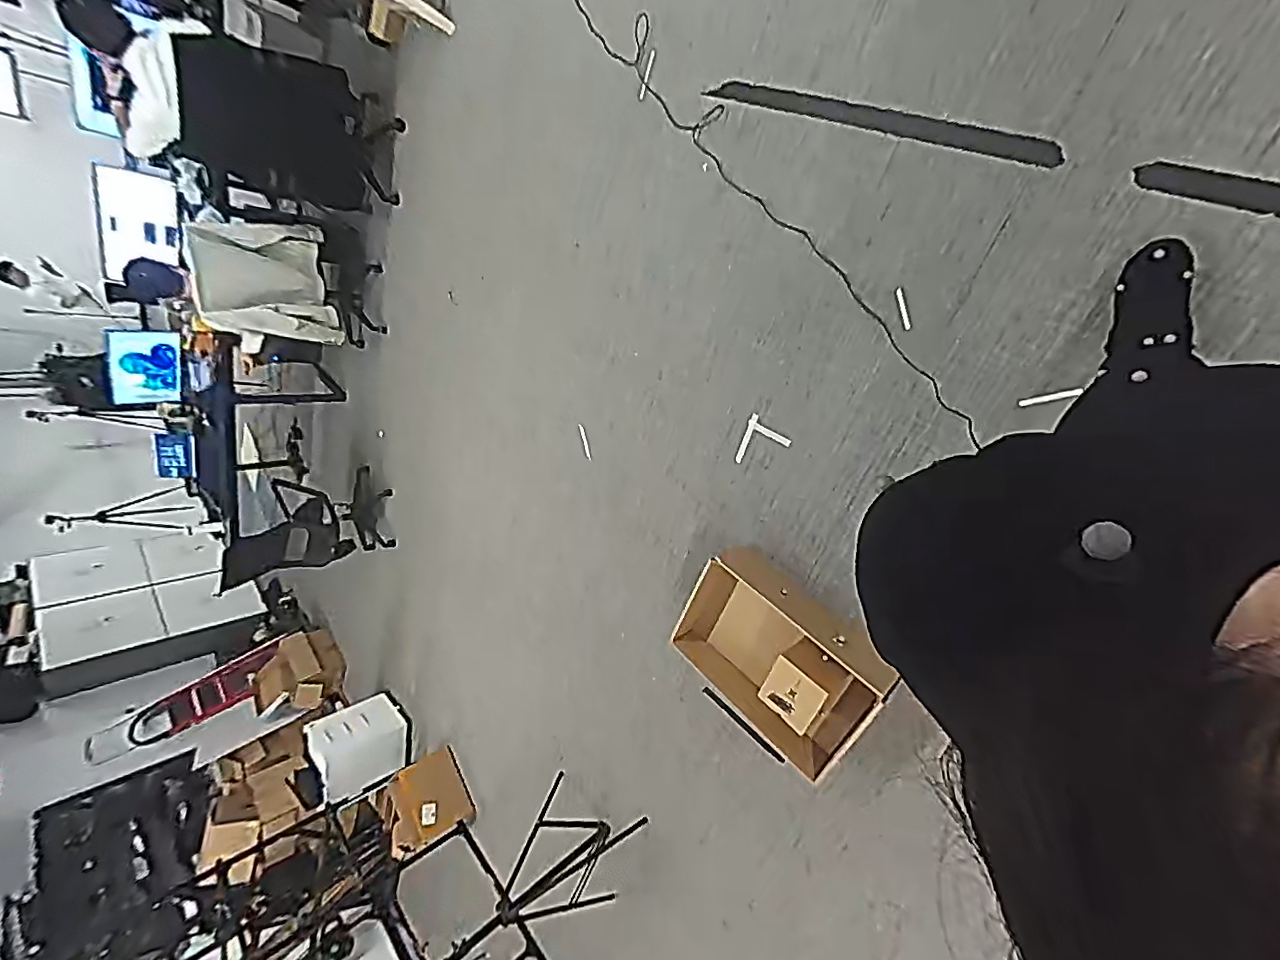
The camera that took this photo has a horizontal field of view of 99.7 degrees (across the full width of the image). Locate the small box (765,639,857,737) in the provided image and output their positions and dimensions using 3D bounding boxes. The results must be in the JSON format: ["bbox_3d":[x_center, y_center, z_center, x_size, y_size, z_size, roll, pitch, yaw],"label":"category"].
[{"bbox_3d":[0.504,0.603,1.584,0.168,0.176,0.179,37,121,34],"label":"small box"}]
